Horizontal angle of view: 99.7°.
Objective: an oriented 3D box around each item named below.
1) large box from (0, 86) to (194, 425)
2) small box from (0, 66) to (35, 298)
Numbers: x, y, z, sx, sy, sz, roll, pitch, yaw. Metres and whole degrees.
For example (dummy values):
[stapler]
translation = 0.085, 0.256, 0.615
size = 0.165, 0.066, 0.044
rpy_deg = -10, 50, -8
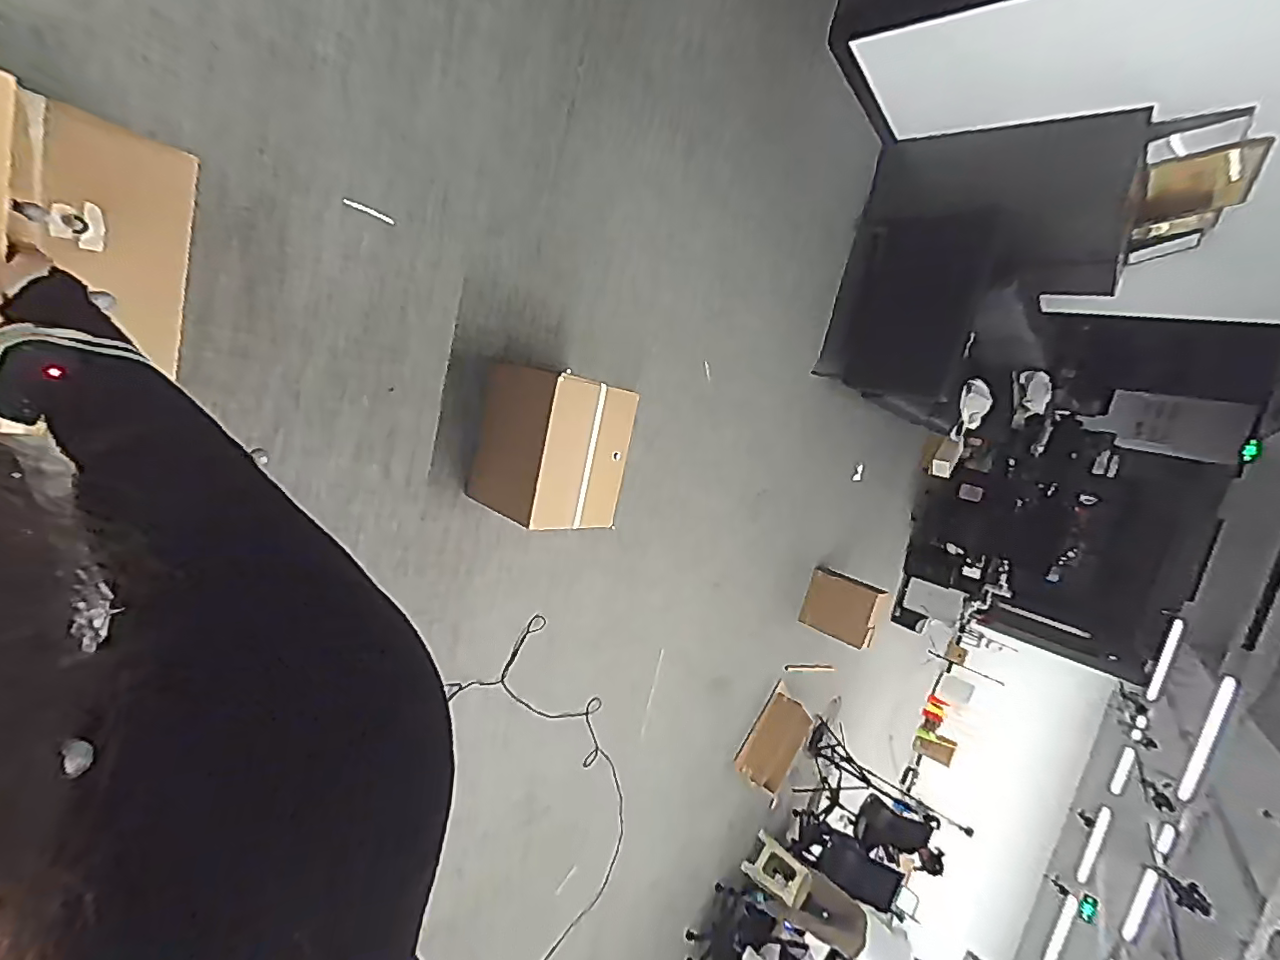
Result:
[large box]
translation = -0.867, -0.310, 0.766
size = 0.320, 0.320, 0.408
rpy_deg = 3, 102, -49
[small box]
translation = -0.614, -0.261, 0.433
size = 0.168, 0.176, 0.179
rpy_deg = 4, 104, -47
